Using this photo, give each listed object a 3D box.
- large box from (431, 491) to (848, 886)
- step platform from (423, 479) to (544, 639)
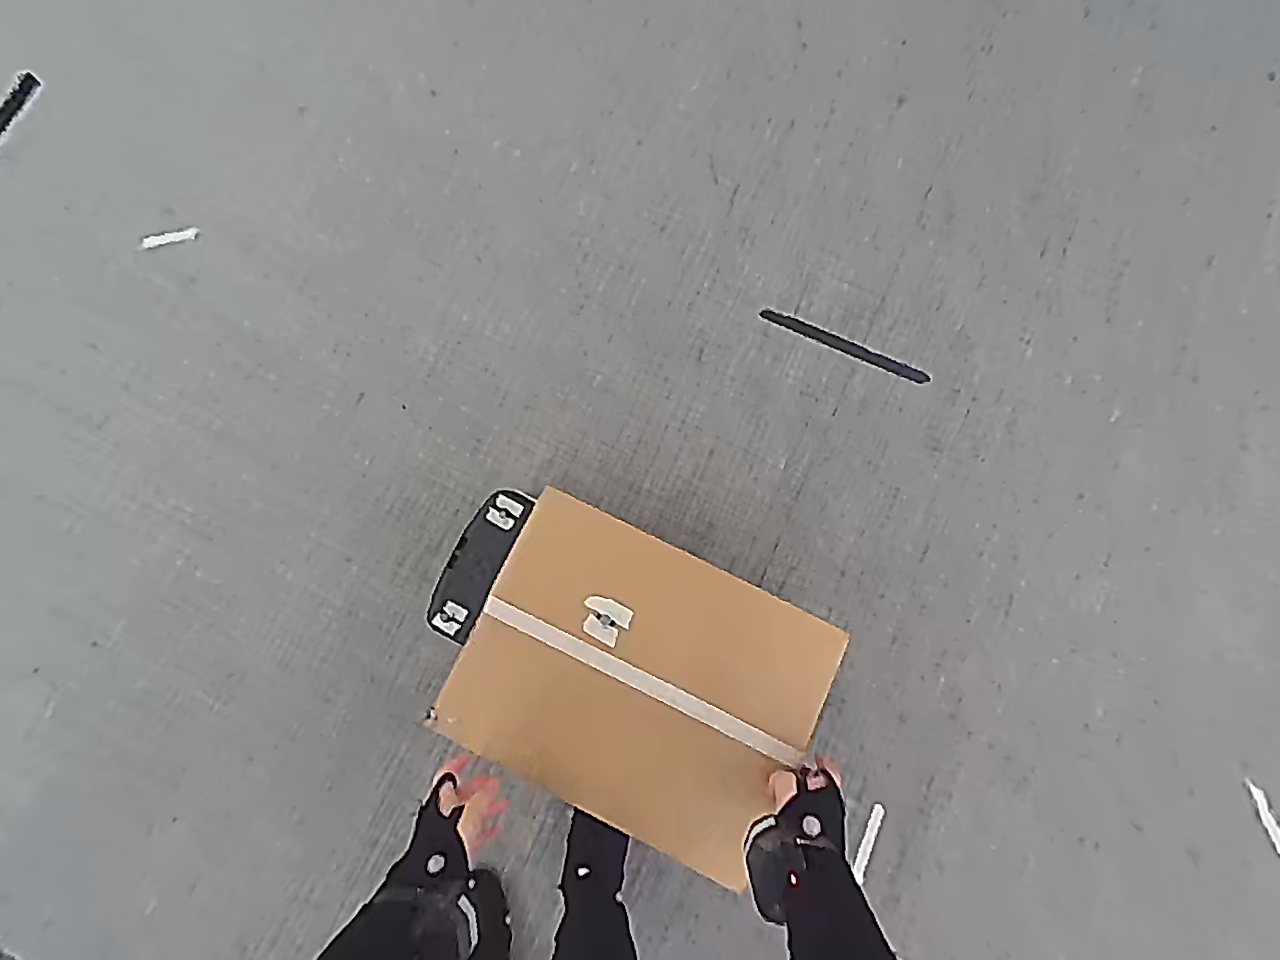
[{"bbox_3d":[0.006,0.251,0.770,0.408,0.320,0.320,26,82,5],"label":"large box"},{"bbox_3d":[-0.047,0.278,1.008,0.684,0.204,0.286,31,83,6],"label":"step platform"}]
